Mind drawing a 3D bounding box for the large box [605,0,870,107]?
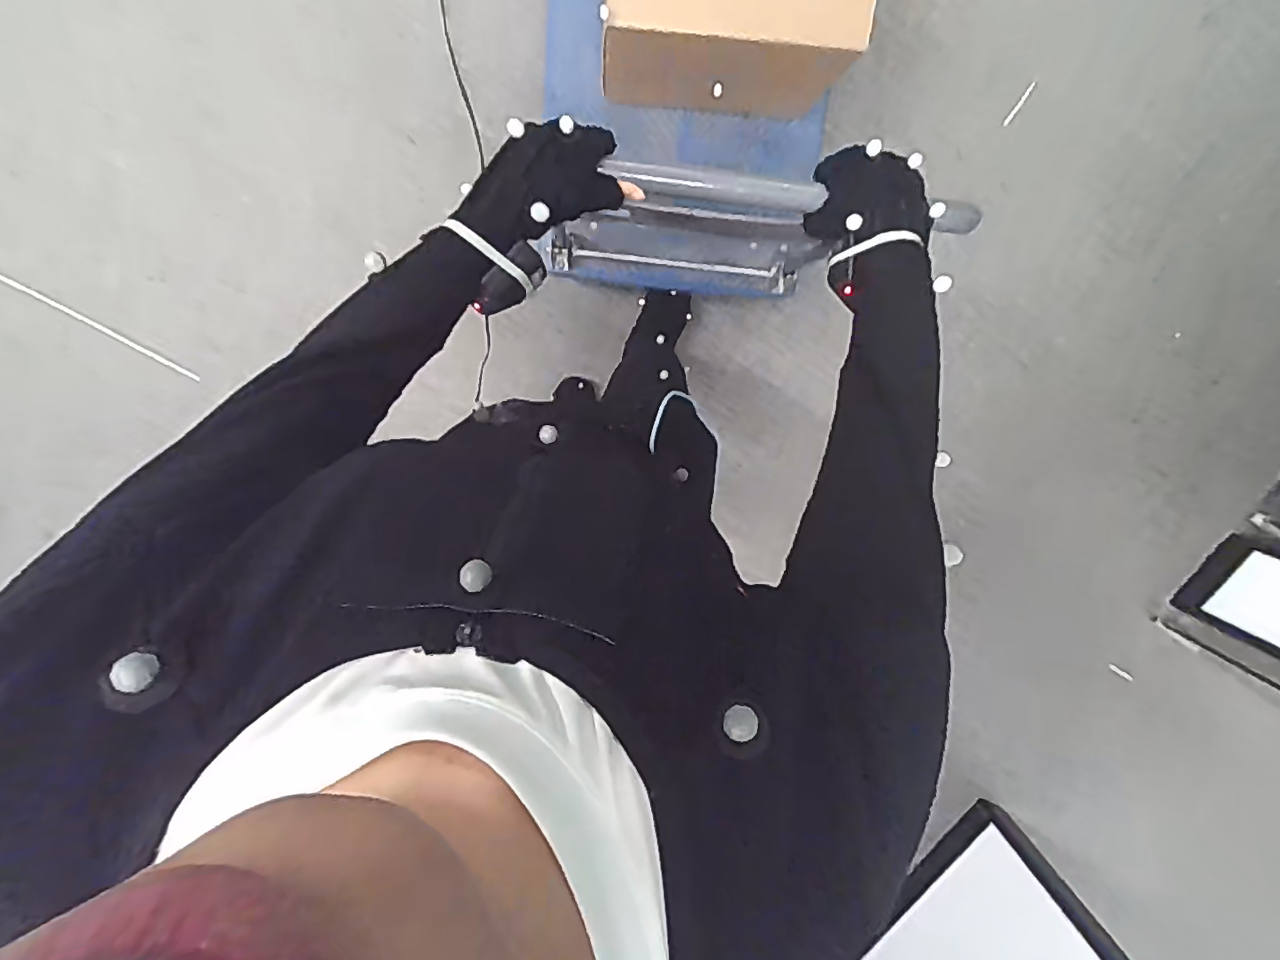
[{"bbox_3d":[0.147,-0.866,0.915,0.408,0.320,0.320,1,107,-4],"label":"large box"}]
